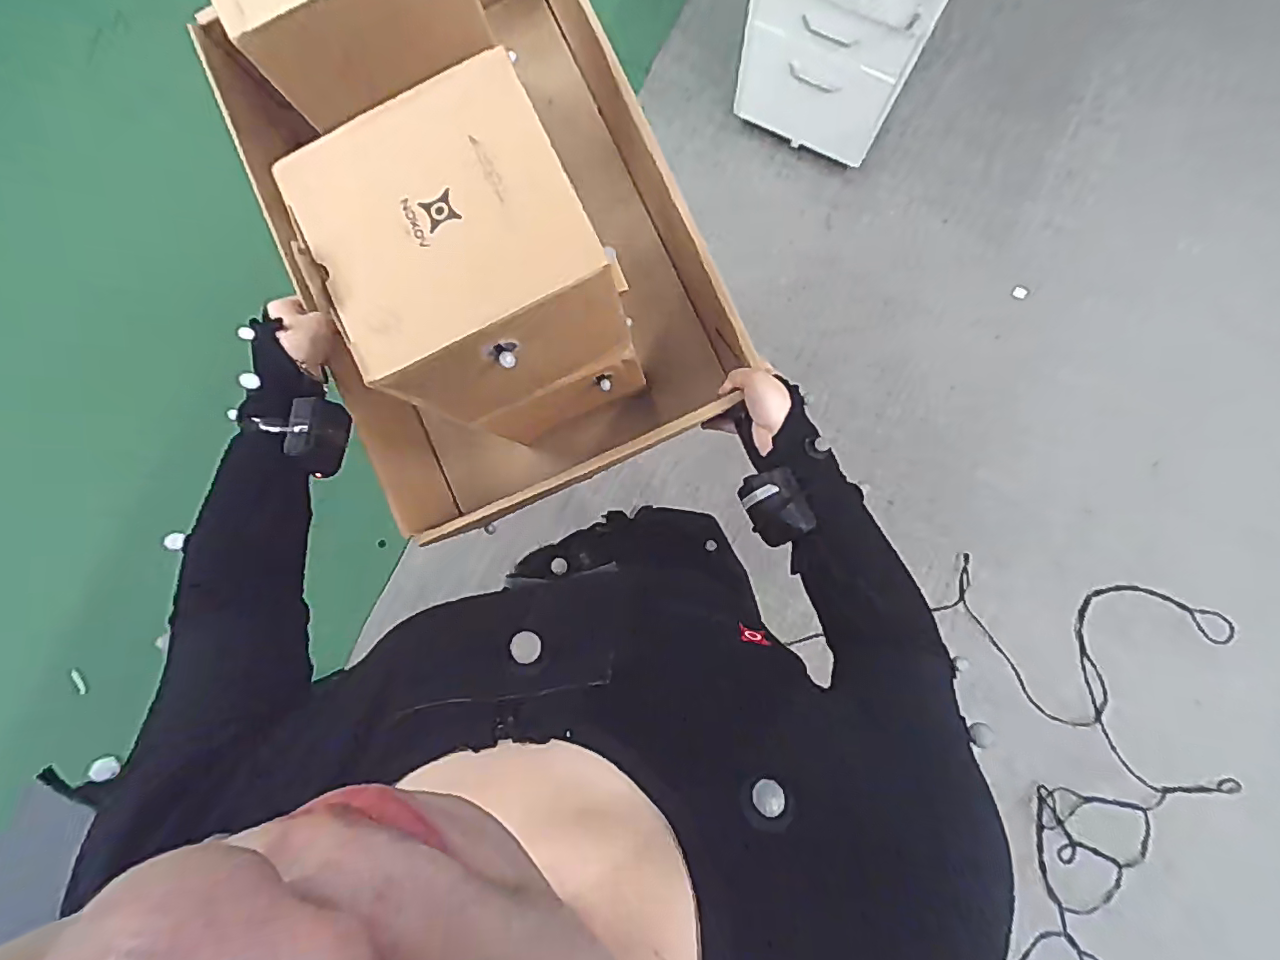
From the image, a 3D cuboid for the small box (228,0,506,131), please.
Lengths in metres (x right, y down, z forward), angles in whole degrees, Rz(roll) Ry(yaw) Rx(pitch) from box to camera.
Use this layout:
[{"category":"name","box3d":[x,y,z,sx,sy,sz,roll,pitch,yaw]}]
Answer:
[{"category":"small box","box3d":[-0.219,-0.404,0.442,0.168,0.176,0.179,-23,88,3]}]

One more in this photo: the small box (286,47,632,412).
[{"category":"small box","box3d":[-0.120,-0.169,0.429,0.179,0.176,0.168,-26,87,2]}]
